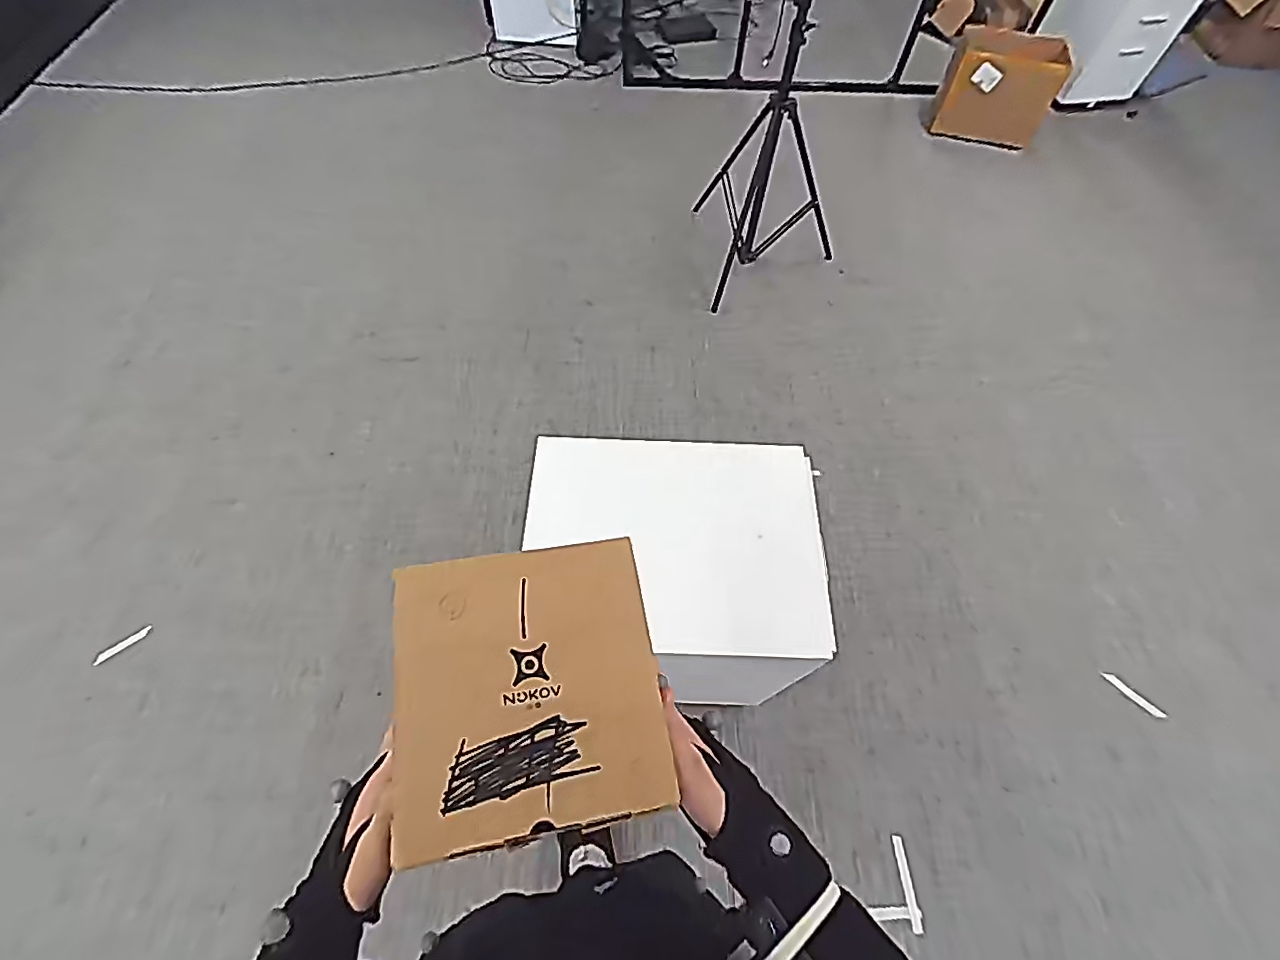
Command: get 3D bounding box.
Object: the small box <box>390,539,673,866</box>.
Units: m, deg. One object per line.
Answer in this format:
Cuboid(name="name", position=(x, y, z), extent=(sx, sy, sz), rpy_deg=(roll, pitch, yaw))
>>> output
Cuboid(name="small box", position=(-0.080, 0.164, 0.416), extent=(0.168, 0.176, 0.179), rpy_deg=(-6, 63, -11))
